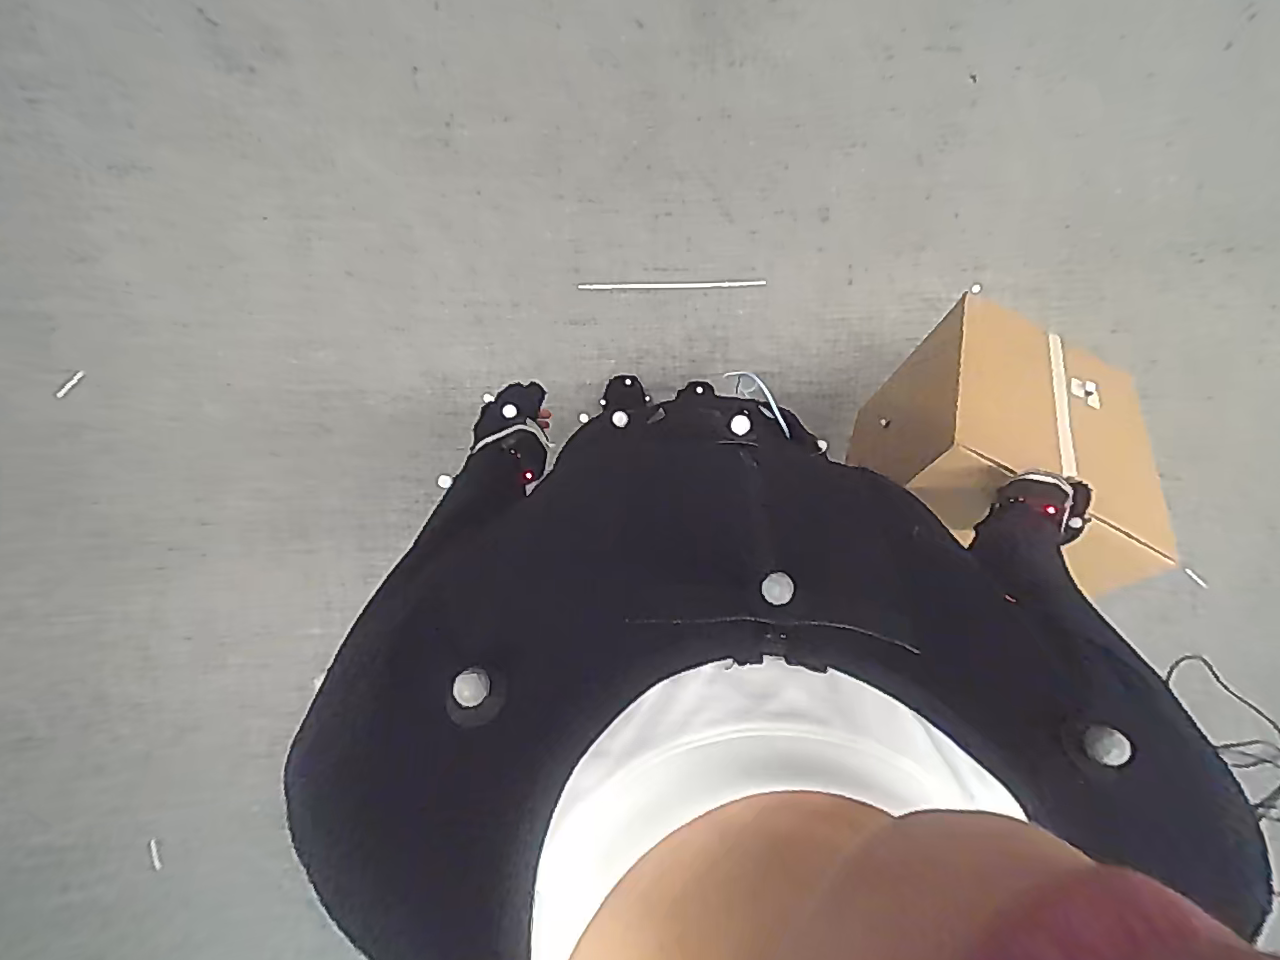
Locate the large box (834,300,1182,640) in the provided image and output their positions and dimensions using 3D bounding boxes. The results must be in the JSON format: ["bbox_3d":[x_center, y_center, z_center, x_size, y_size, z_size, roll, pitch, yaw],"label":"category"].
[{"bbox_3d":[0.566,-0.017,0.904,0.320,0.408,0.320,29,141,2],"label":"large box"}]
